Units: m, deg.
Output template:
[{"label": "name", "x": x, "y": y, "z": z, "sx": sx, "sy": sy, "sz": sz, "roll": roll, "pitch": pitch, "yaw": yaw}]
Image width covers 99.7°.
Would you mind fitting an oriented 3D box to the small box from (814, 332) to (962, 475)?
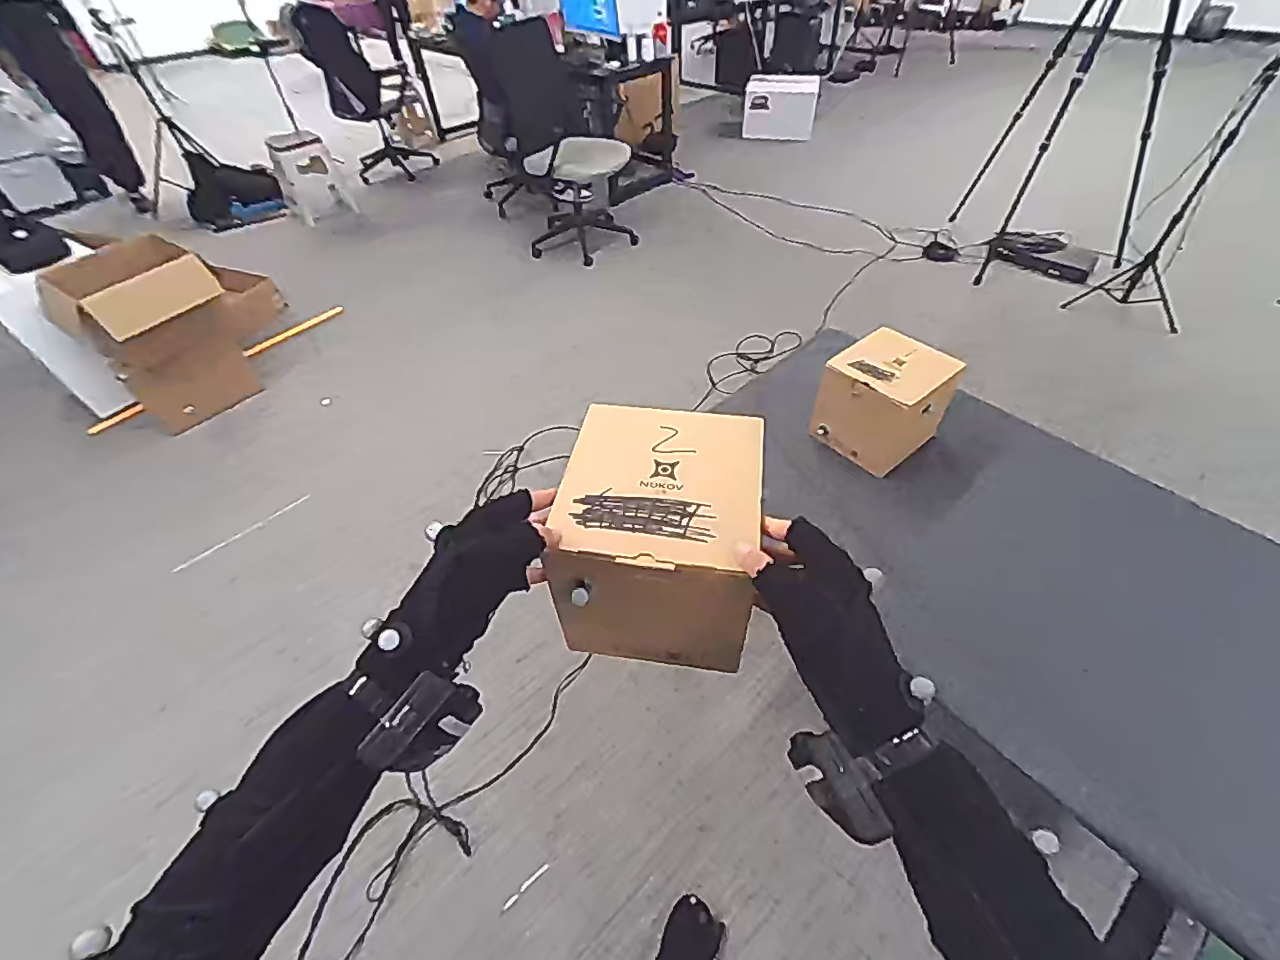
[{"label": "small box", "x": 0.442, "y": -0.139, "z": 0.994, "sx": 0.179, "sy": 0.176, "sz": 0.168, "roll": -32, "pitch": 53, "yaw": -24}]
